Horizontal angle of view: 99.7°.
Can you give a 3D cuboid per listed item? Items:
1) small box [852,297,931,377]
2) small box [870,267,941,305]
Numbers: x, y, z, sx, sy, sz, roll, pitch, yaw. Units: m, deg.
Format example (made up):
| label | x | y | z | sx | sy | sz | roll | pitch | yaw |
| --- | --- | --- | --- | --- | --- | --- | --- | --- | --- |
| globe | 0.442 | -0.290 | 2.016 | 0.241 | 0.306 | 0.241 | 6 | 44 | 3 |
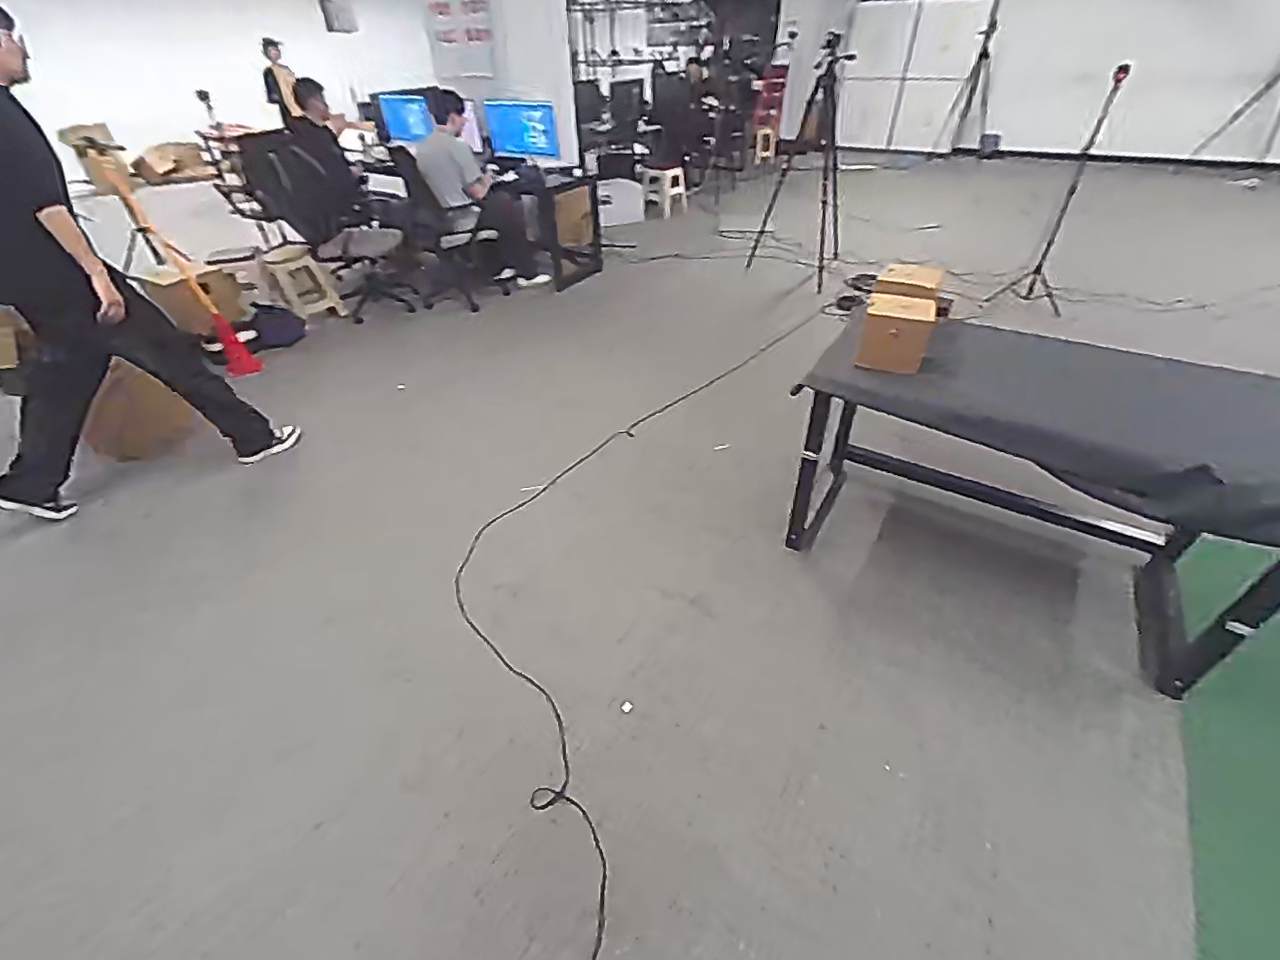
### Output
| label | x | y | z | sx | sy | sz | roll | pitch | yaw |
| --- | --- | --- | --- | --- | --- | --- | --- | --- | --- |
| small box | 0.739 | -0.421 | 1.596 | 0.179 | 0.176 | 0.168 | 15 | 42 | 18 |
| small box | 0.861 | -0.581 | 1.787 | 0.179 | 0.176 | 0.168 | 21 | 45 | 25 |
